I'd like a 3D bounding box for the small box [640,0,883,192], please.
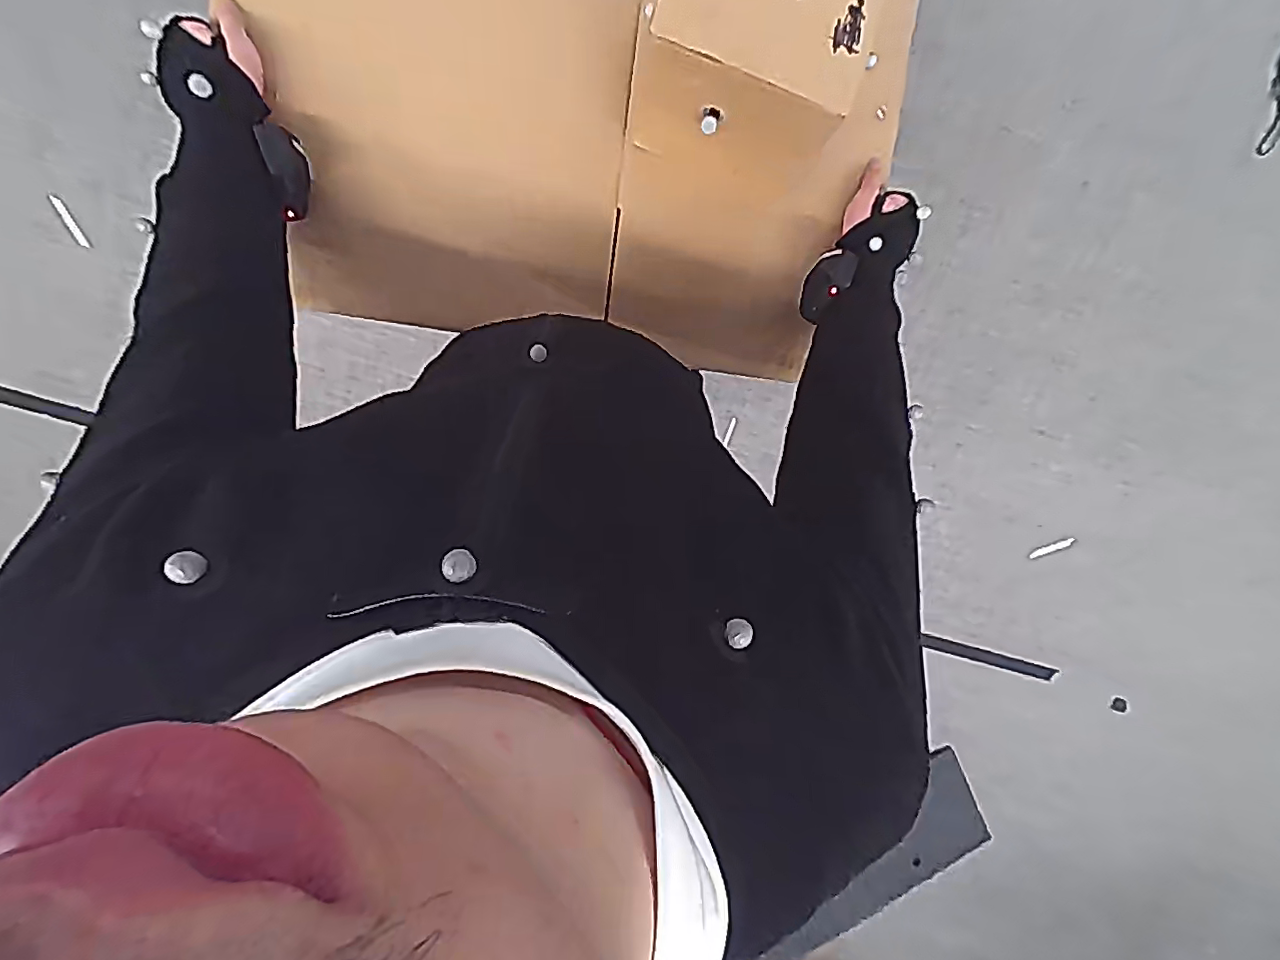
[{"bbox_3d":[0.106,-0.408,0.513,0.179,0.176,0.168,18,94,-6],"label":"small box"}]
